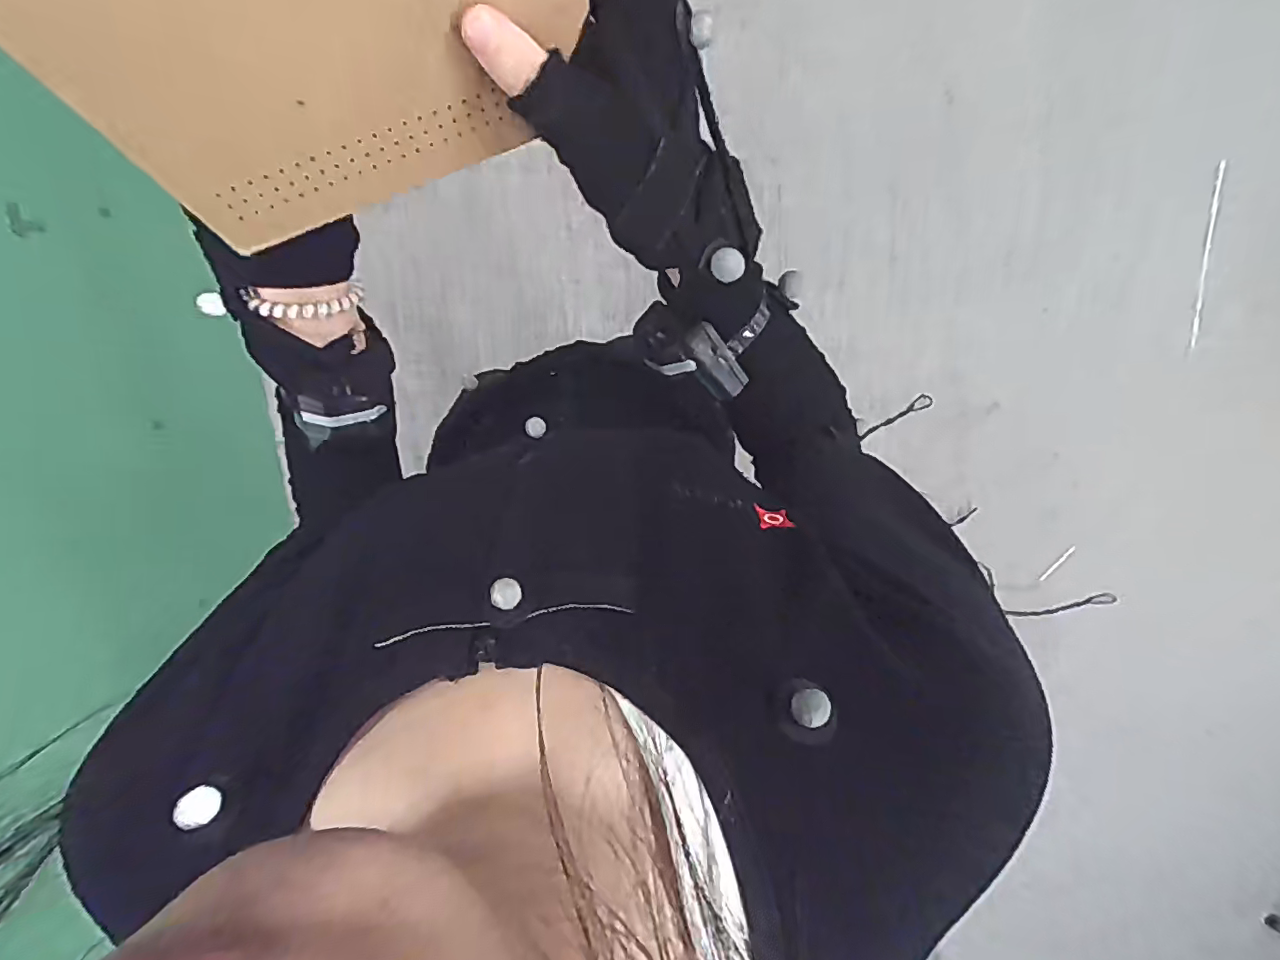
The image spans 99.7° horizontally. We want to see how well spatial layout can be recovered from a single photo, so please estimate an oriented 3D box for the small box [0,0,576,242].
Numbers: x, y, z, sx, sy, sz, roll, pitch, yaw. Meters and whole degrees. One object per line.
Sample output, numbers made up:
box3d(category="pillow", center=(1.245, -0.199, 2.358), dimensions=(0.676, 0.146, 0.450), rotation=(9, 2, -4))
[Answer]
box3d(category="small box", center=(-0.131, -0.226, 0.190), dimensions=(0.179, 0.176, 0.168), rotation=(-26, 78, -5))
